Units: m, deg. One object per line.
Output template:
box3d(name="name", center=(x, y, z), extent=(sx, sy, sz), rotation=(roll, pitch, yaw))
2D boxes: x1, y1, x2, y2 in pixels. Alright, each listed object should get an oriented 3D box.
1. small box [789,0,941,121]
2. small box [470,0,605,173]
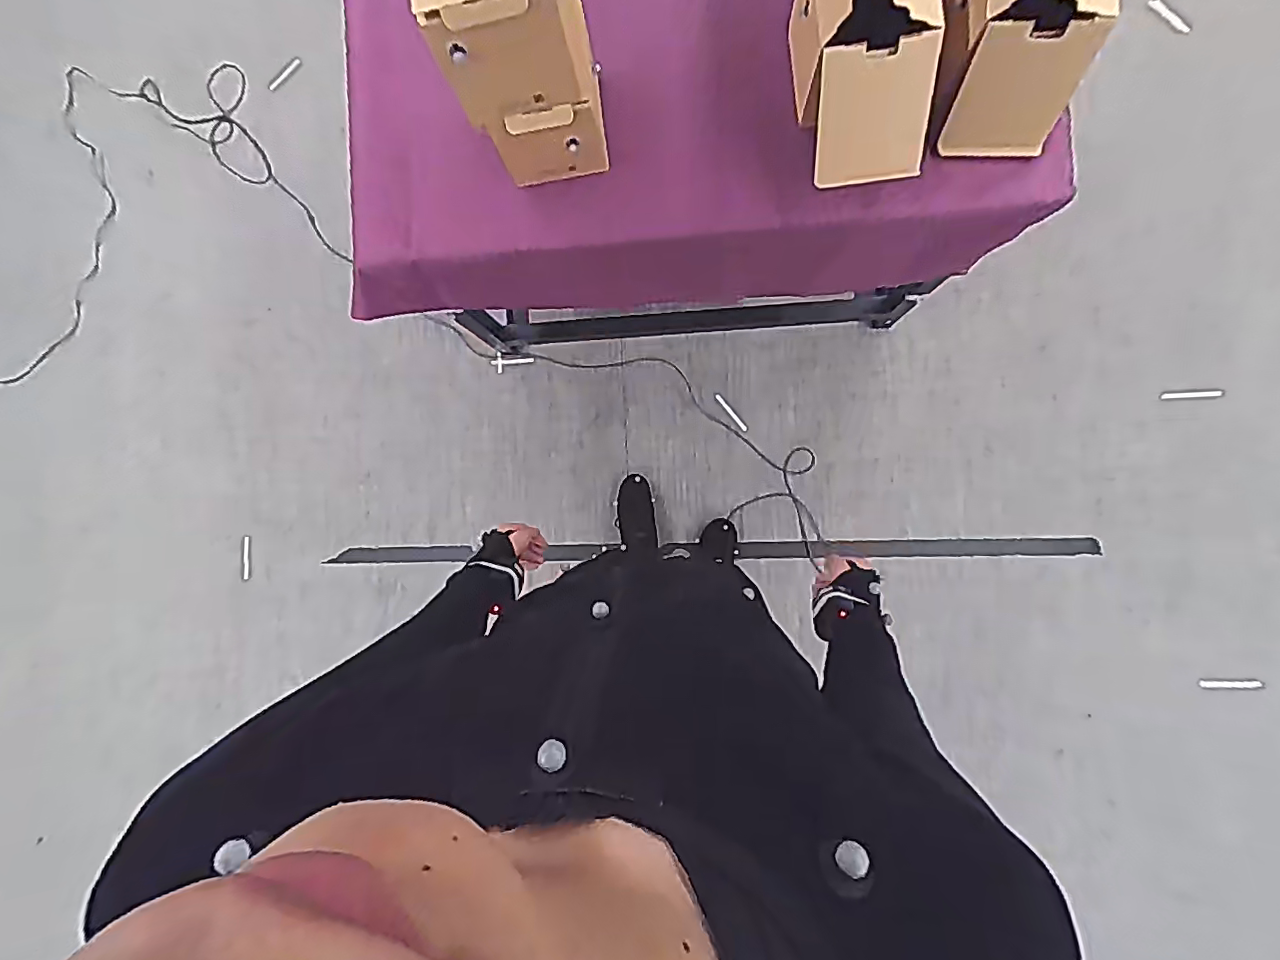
box3d(name="small box", center=(0.327, -0.692, 0.818), extent=(0.168, 0.176, 0.179), rotation=(-5, 89, 6))
box3d(name="small box", center=(-0.154, -0.620, 0.864), extent=(0.168, 0.176, 0.179), rotation=(-7, 88, 5))
